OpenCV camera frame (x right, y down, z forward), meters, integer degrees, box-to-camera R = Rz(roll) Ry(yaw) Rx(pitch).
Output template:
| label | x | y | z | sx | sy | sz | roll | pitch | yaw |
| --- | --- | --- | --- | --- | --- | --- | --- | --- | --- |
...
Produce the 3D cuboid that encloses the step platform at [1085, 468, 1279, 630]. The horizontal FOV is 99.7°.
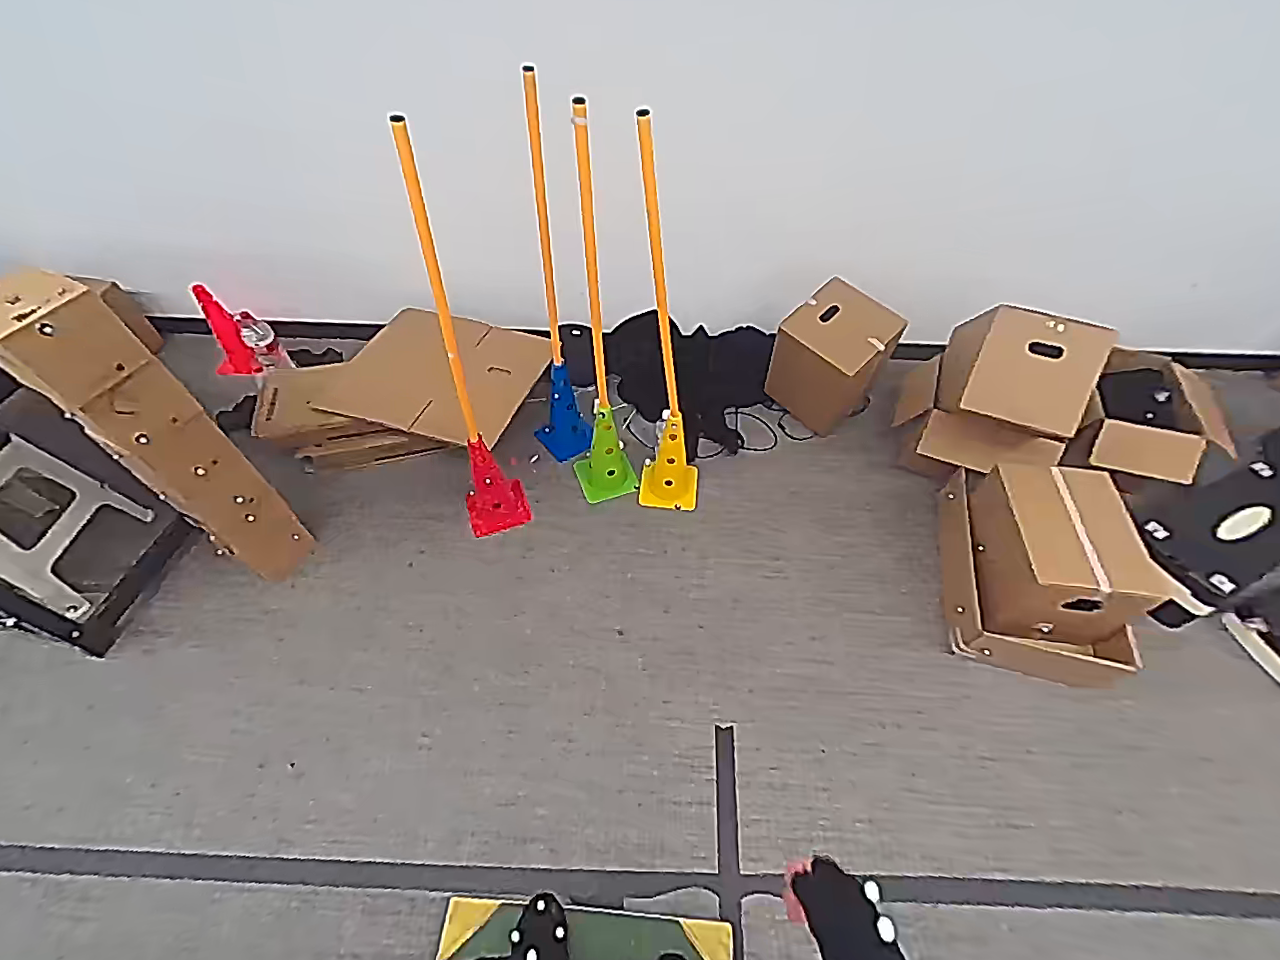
| label | x | y | z | sx | sy | sz | roll | pitch | yaw |
| --- | --- | --- | --- | --- | --- | --- | --- | --- | --- |
| step platform | 1.816 | 0.206 | 1.736 | 0.684 | 0.204 | 0.286 | -21 | 56 | -16 |
